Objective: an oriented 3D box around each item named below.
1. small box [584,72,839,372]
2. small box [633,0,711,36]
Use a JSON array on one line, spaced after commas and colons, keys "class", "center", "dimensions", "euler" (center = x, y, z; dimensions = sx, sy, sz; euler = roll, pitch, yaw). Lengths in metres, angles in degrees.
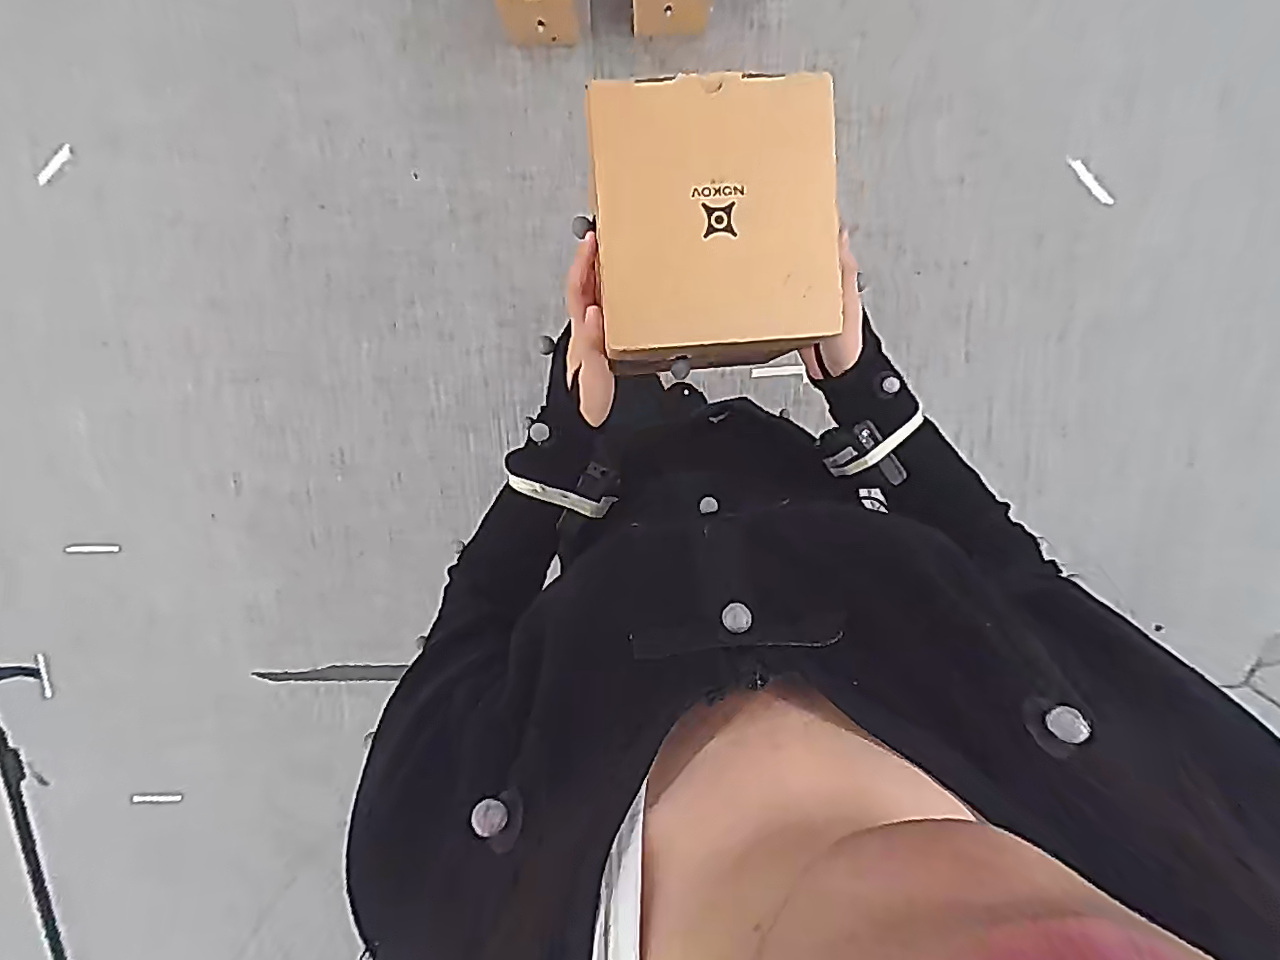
[{"class": "small box", "center": [0.046, -0.186, 0.443], "dimensions": [0.168, 0.176, 0.179], "euler": [-5, 94, -4]}, {"class": "small box", "center": [0.072, -1.137, 1.207], "dimensions": [0.179, 0.176, 0.168], "euler": [-1, 100, 3]}]
